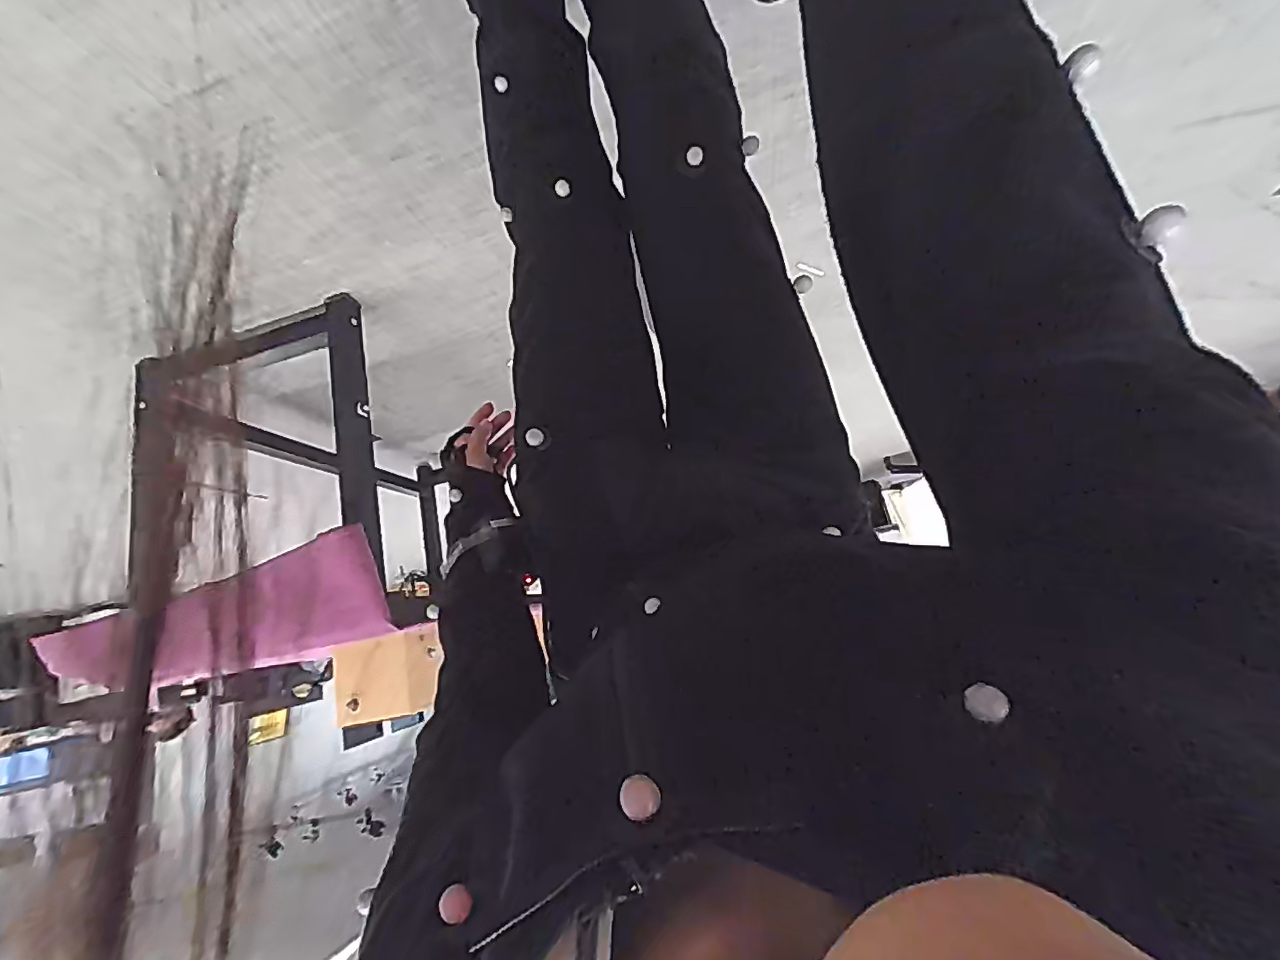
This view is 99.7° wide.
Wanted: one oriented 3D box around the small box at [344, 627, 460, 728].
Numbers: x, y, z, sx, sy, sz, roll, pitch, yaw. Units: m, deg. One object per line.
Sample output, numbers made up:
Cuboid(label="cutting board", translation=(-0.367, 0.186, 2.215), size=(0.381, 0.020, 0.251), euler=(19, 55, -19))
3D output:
Cuboid(label="small box", translation=(-0.523, 0.425, 1.189), size=(0.179, 0.176, 0.168), euler=(-15, 168, 11))
